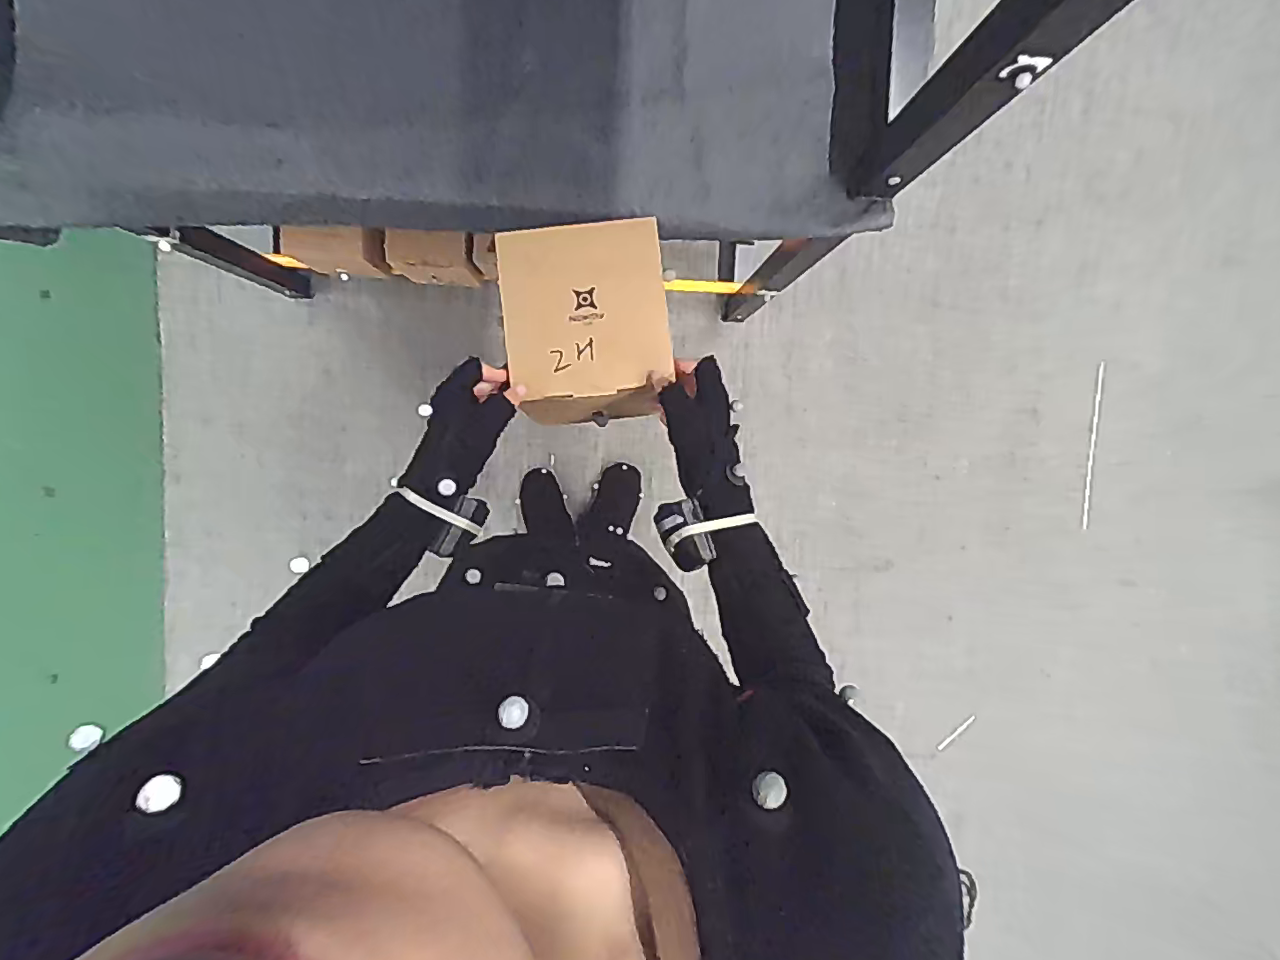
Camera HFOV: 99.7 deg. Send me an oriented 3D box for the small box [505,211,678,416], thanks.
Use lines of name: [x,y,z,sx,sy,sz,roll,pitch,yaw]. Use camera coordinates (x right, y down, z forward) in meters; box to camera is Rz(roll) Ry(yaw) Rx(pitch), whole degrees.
small box: [-0.051,-0.180,0.631,0.168,0.176,0.179,-7,88,0]
